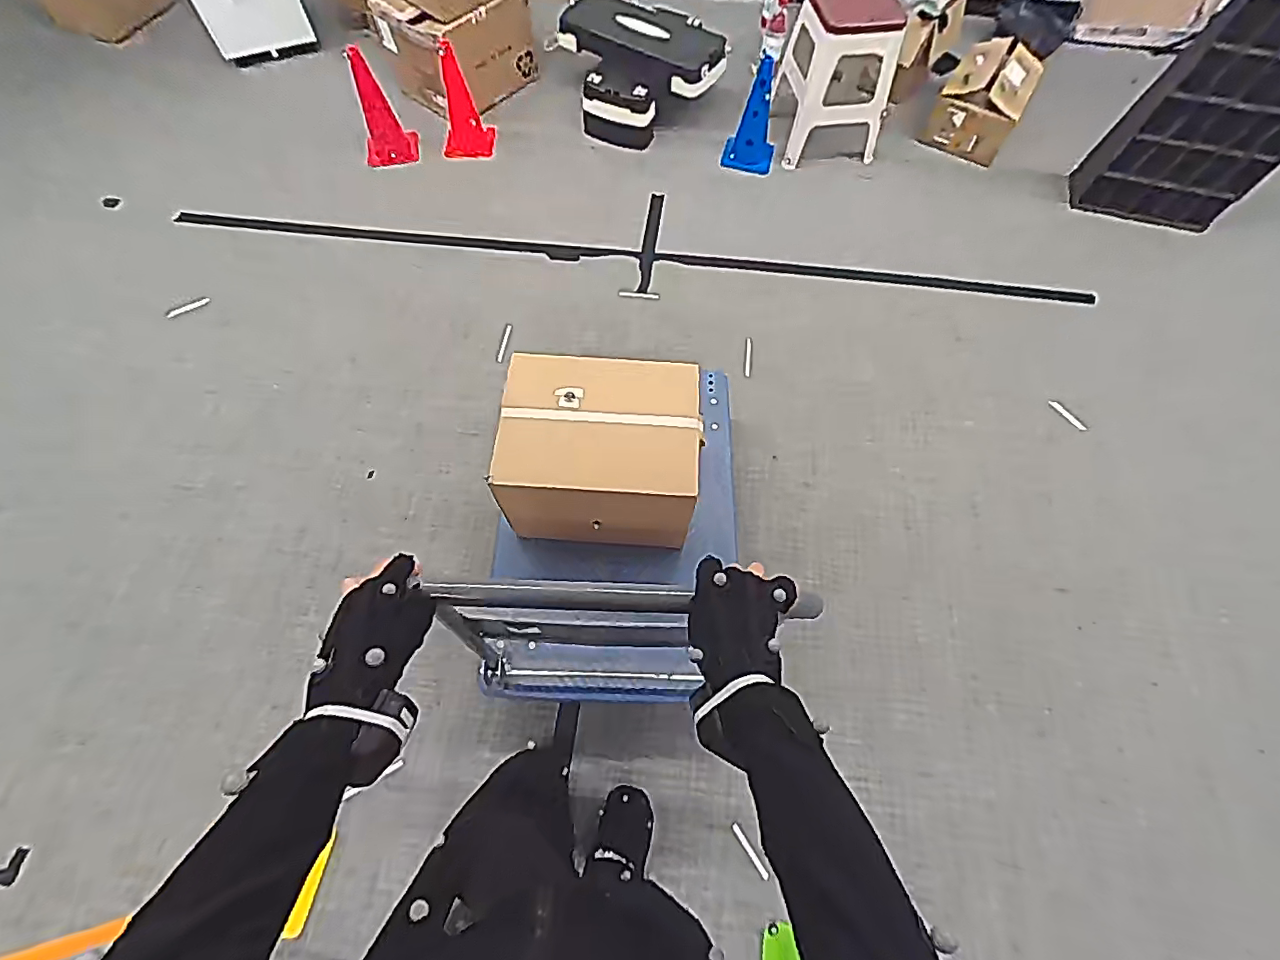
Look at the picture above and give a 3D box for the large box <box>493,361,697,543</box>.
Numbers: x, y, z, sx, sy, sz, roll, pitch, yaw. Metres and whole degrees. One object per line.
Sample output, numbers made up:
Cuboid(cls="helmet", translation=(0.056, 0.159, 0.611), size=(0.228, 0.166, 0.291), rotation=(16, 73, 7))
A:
Cuboid(cls="large box", translation=(-0.081, -0.051, 1.244), size=(0.408, 0.320, 0.320), rotation=(4, 65, 1))
